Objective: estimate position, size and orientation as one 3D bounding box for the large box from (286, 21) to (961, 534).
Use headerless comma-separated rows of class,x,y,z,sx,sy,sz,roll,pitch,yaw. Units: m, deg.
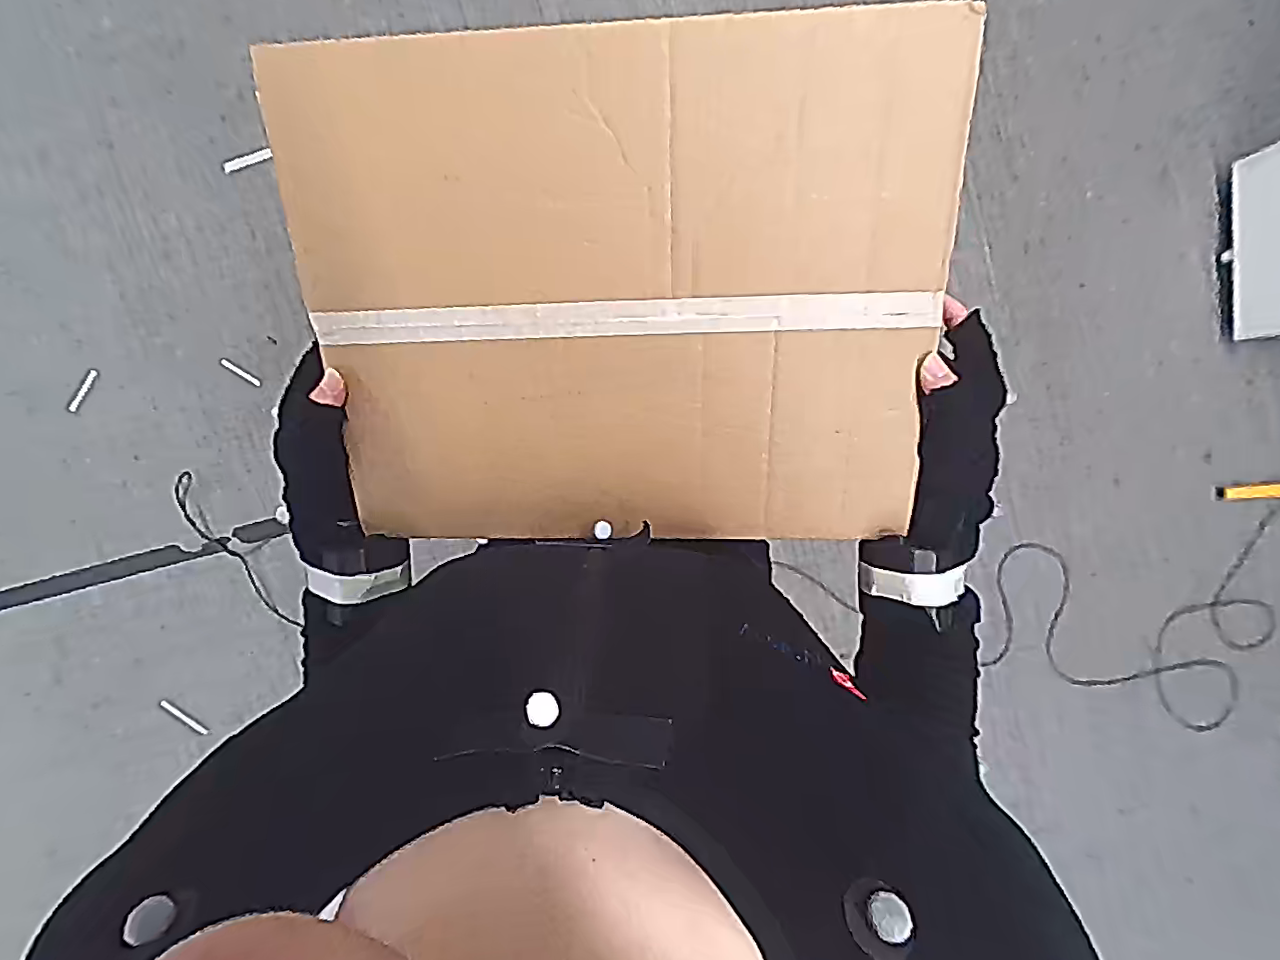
large box,-0.005,-0.156,0.502,0.408,0.320,0.320,-1,111,4
